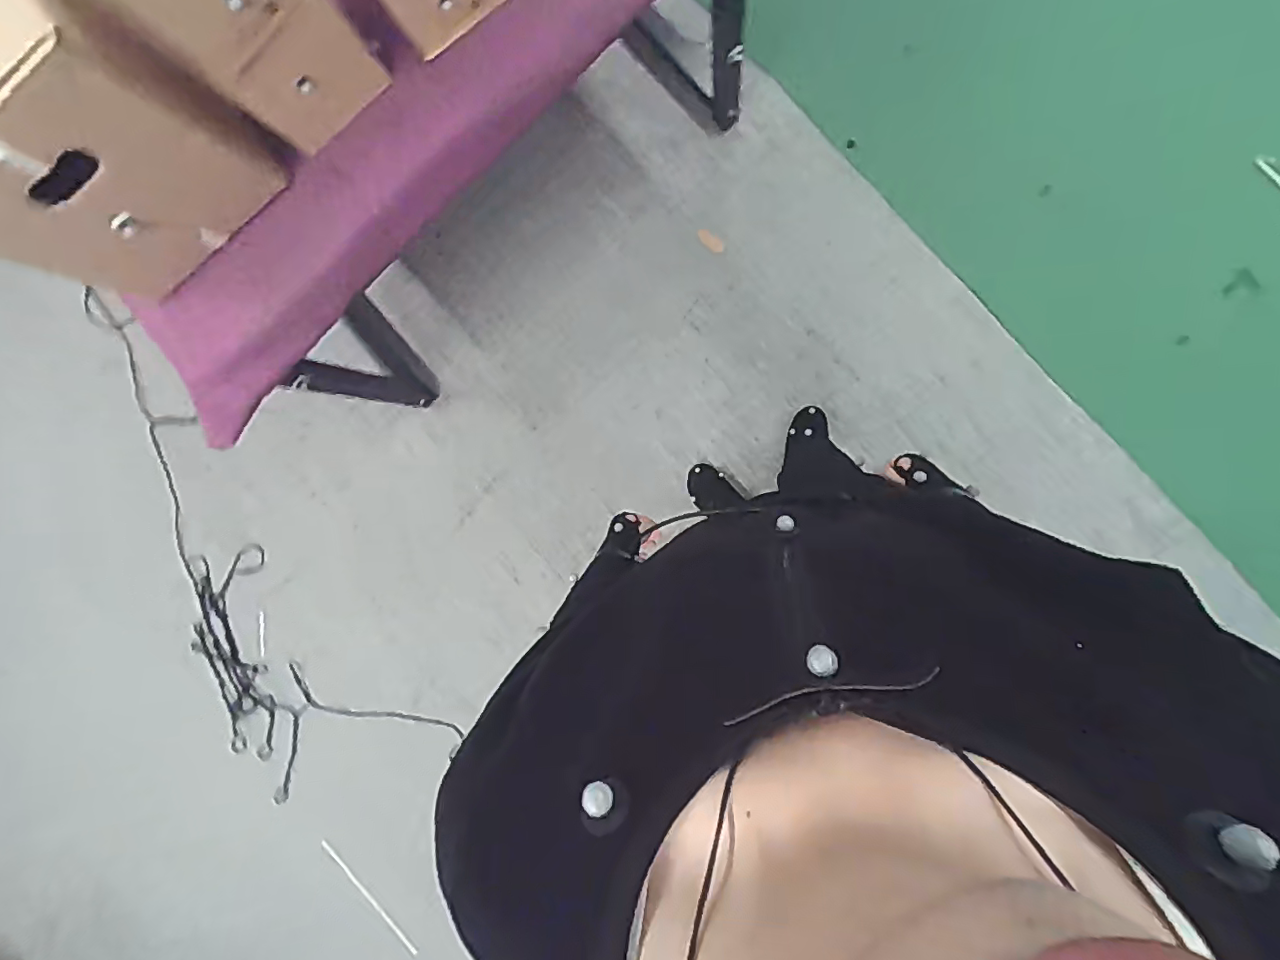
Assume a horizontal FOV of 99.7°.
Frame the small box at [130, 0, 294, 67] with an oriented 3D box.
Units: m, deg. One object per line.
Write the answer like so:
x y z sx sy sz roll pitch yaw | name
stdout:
-0.518 -0.610 0.580 0.168 0.176 0.179 -40 87 9 | small box
